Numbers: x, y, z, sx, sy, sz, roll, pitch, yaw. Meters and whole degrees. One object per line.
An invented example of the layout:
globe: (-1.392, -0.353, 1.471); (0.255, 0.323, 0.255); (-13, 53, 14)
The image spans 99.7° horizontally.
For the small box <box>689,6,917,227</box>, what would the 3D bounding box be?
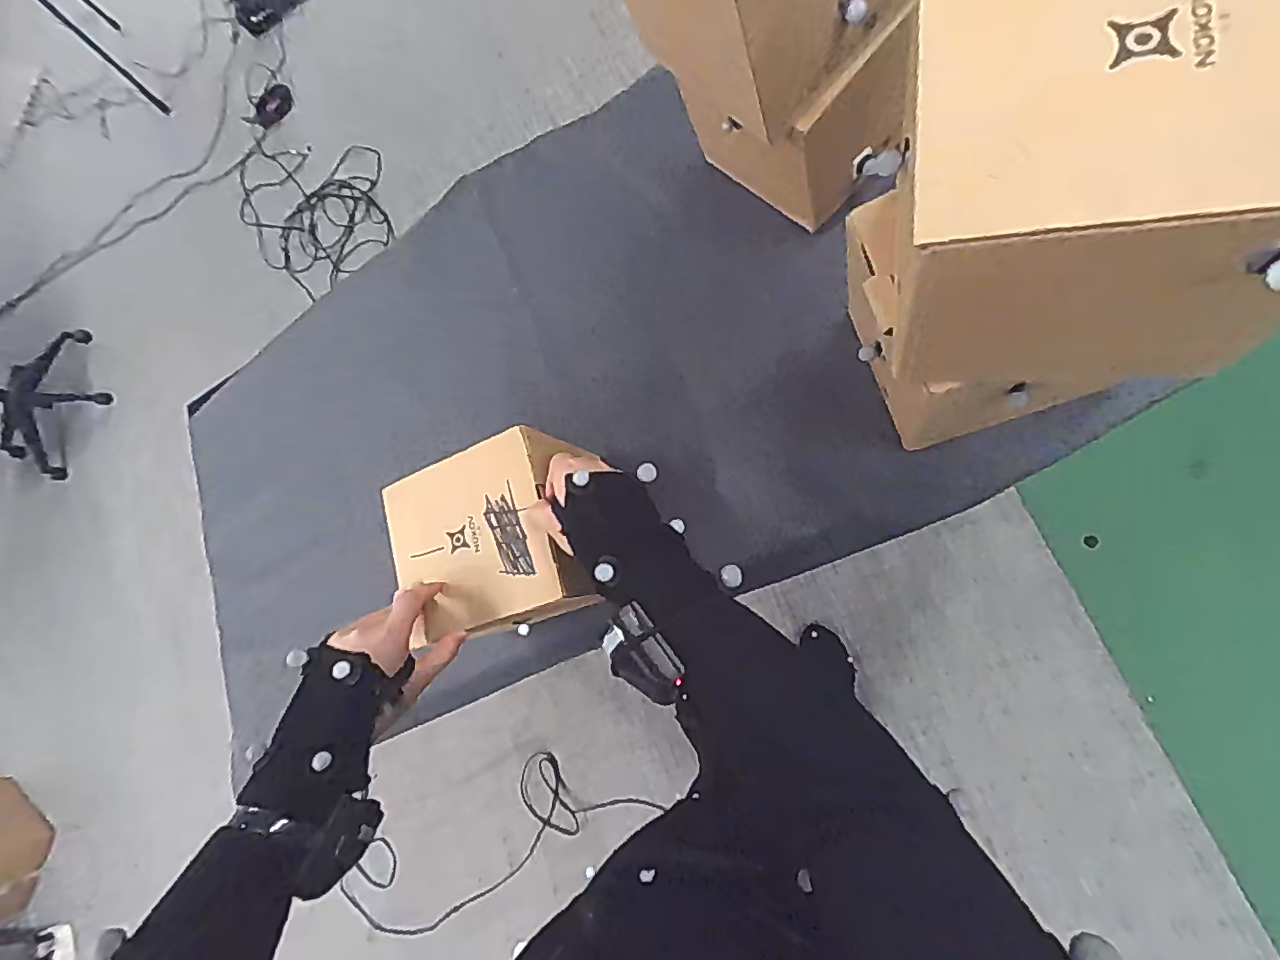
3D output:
small box: (0.166, -0.387, 0.528); (0.179, 0.176, 0.168); (46, 102, 18)

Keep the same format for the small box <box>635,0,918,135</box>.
small box: (0.087, -0.396, 0.382); (0.168, 0.176, 0.179); (-44, 70, 14)

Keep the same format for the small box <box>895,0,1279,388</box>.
small box: (0.237, -0.154, 0.288); (0.179, 0.176, 0.168); (3, 80, 22)

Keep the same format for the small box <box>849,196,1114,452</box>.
small box: (0.289, -0.138, 0.443); (0.179, 0.176, 0.168); (-20, 72, 18)
